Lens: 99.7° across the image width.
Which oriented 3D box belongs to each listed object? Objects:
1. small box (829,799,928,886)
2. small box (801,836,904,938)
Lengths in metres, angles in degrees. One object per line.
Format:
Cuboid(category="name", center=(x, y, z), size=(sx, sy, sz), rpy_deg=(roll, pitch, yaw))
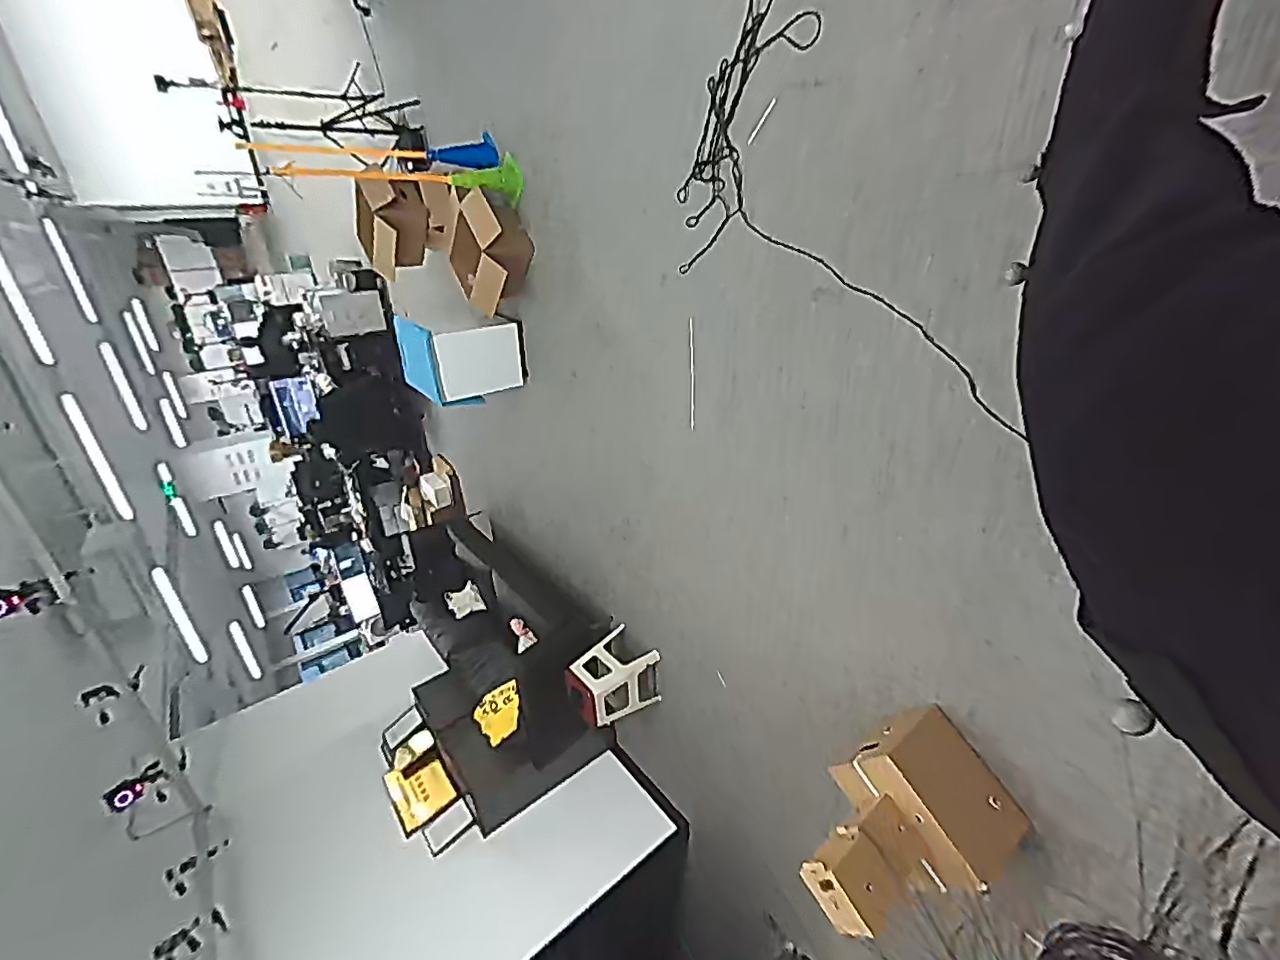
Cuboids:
Cuboid(category="small box", center=(0.725, 1.103, 1.648), size=(0.179, 0.176, 0.168), rpy_deg=(53, 145, 24))
Cuboid(category="small box", center=(0.606, 1.150, 1.543), size=(0.179, 0.176, 0.168), rpy_deg=(54, 144, 20))
